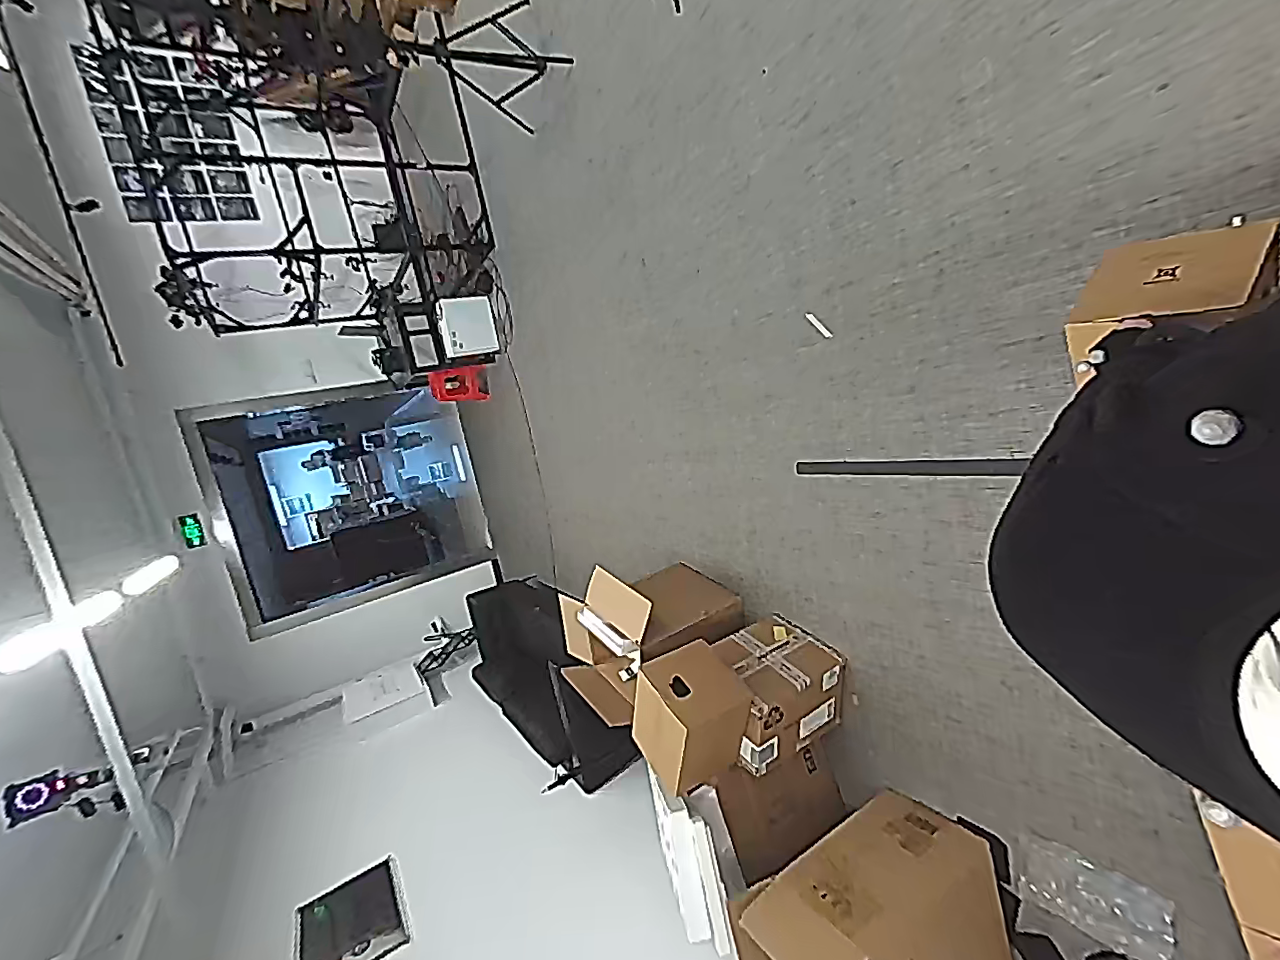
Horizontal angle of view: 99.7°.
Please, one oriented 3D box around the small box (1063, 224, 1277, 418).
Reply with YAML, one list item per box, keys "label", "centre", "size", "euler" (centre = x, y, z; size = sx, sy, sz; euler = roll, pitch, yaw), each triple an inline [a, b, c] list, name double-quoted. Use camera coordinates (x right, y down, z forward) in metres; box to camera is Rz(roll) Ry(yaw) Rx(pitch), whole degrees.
- label: "small box"
  centre: [0.711, -0.200, 0.725]
  size: [0.168, 0.179, 0.176]
  euler: [14, 149, 54]
